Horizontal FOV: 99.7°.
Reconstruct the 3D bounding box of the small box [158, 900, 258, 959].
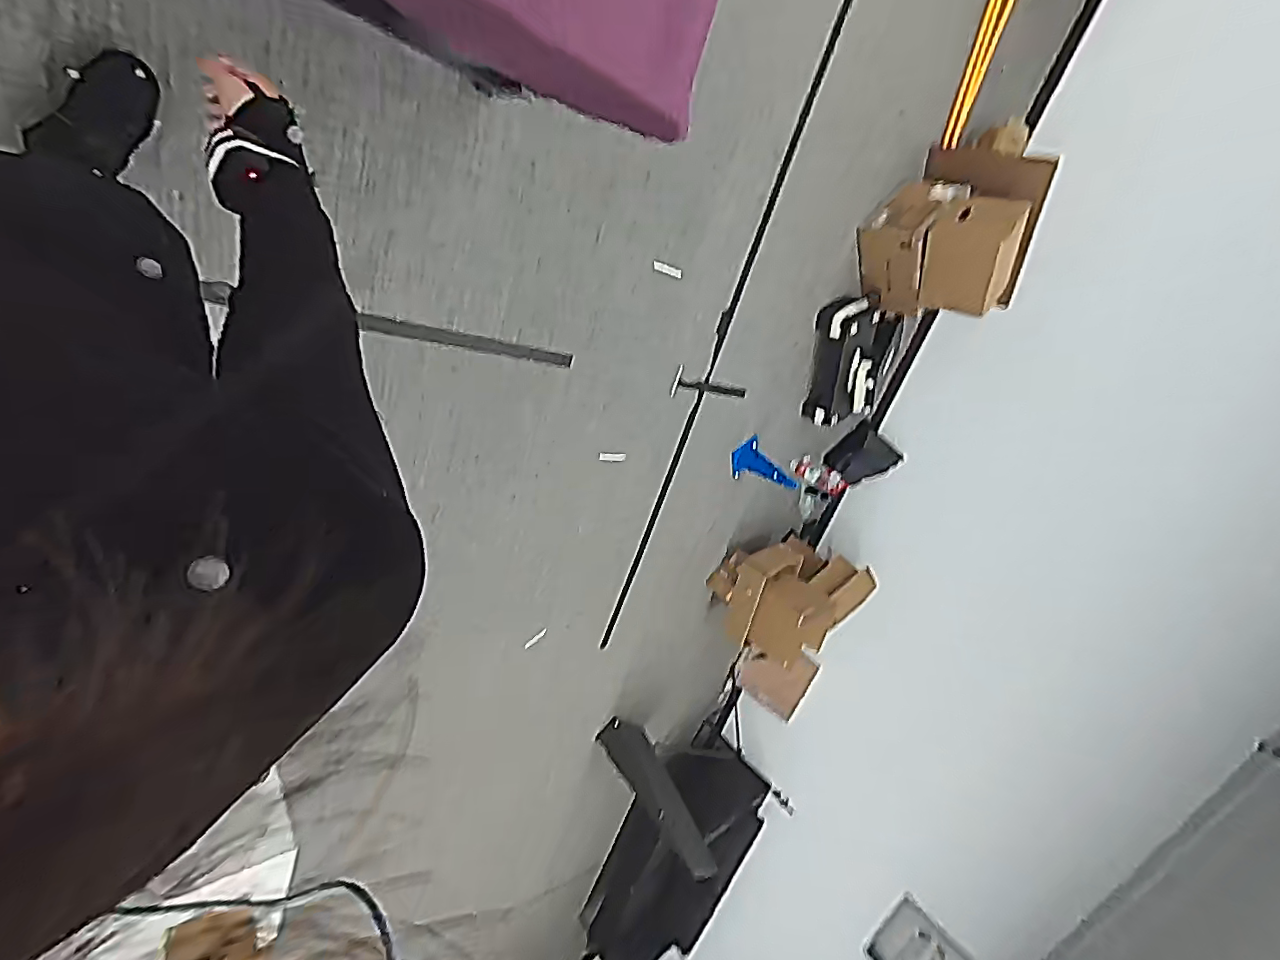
[{"bbox_3d":[-1.072,1.201,1.338,0.179,0.176,0.168,0,118,-44],"label":"small box"}]
